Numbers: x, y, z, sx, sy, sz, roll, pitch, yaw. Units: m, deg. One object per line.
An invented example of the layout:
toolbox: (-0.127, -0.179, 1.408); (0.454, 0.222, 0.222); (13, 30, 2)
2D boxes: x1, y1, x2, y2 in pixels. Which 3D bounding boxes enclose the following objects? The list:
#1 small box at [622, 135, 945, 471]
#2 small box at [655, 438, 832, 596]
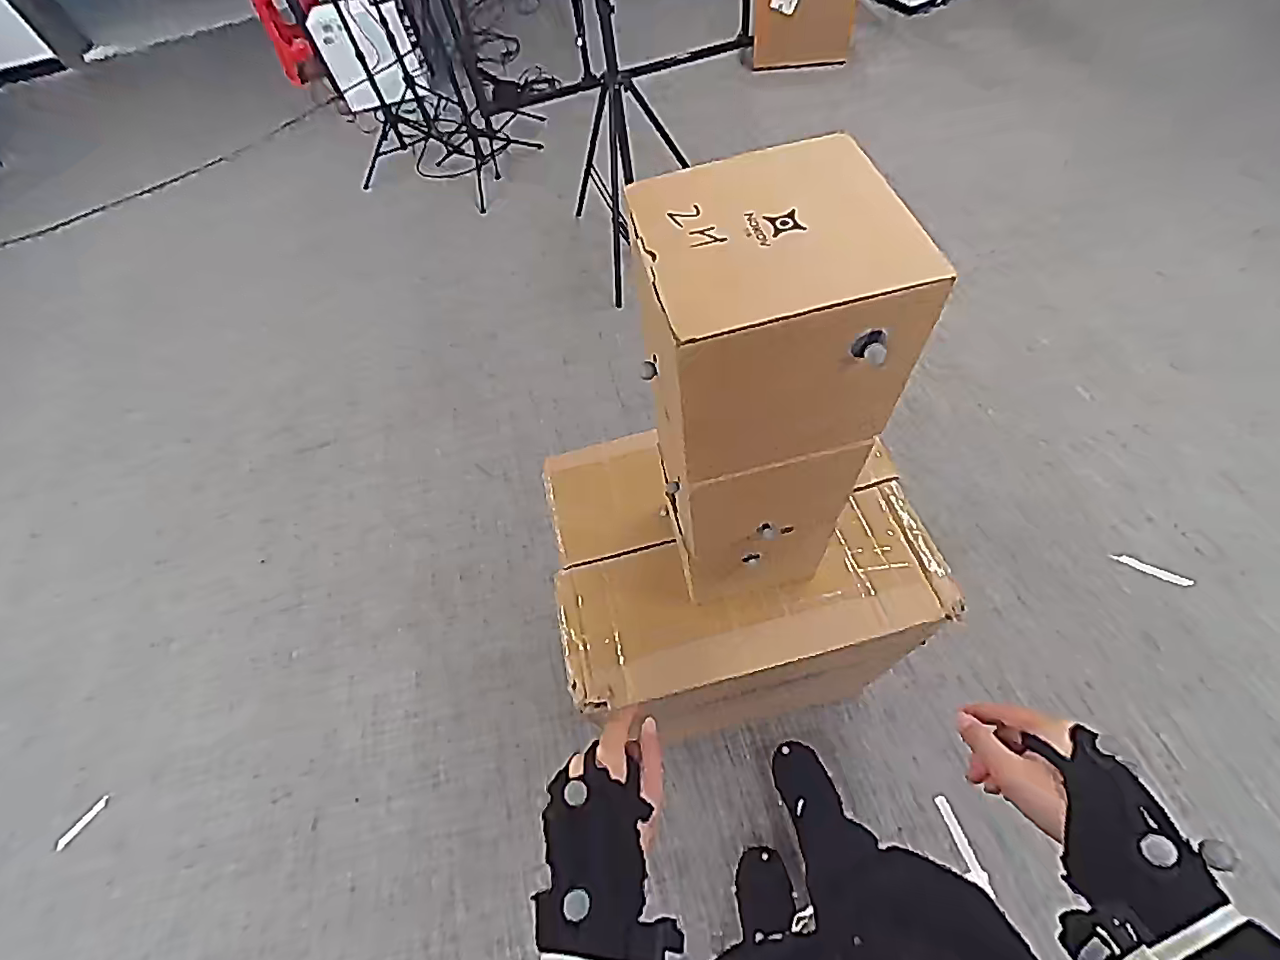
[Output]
small box: (0.094, -0.130, 0.432); (0.179, 0.176, 0.168); (-14, 59, 0)
small box: (0.128, 0.039, 0.713); (0.179, 0.176, 0.168); (-13, 59, 0)
